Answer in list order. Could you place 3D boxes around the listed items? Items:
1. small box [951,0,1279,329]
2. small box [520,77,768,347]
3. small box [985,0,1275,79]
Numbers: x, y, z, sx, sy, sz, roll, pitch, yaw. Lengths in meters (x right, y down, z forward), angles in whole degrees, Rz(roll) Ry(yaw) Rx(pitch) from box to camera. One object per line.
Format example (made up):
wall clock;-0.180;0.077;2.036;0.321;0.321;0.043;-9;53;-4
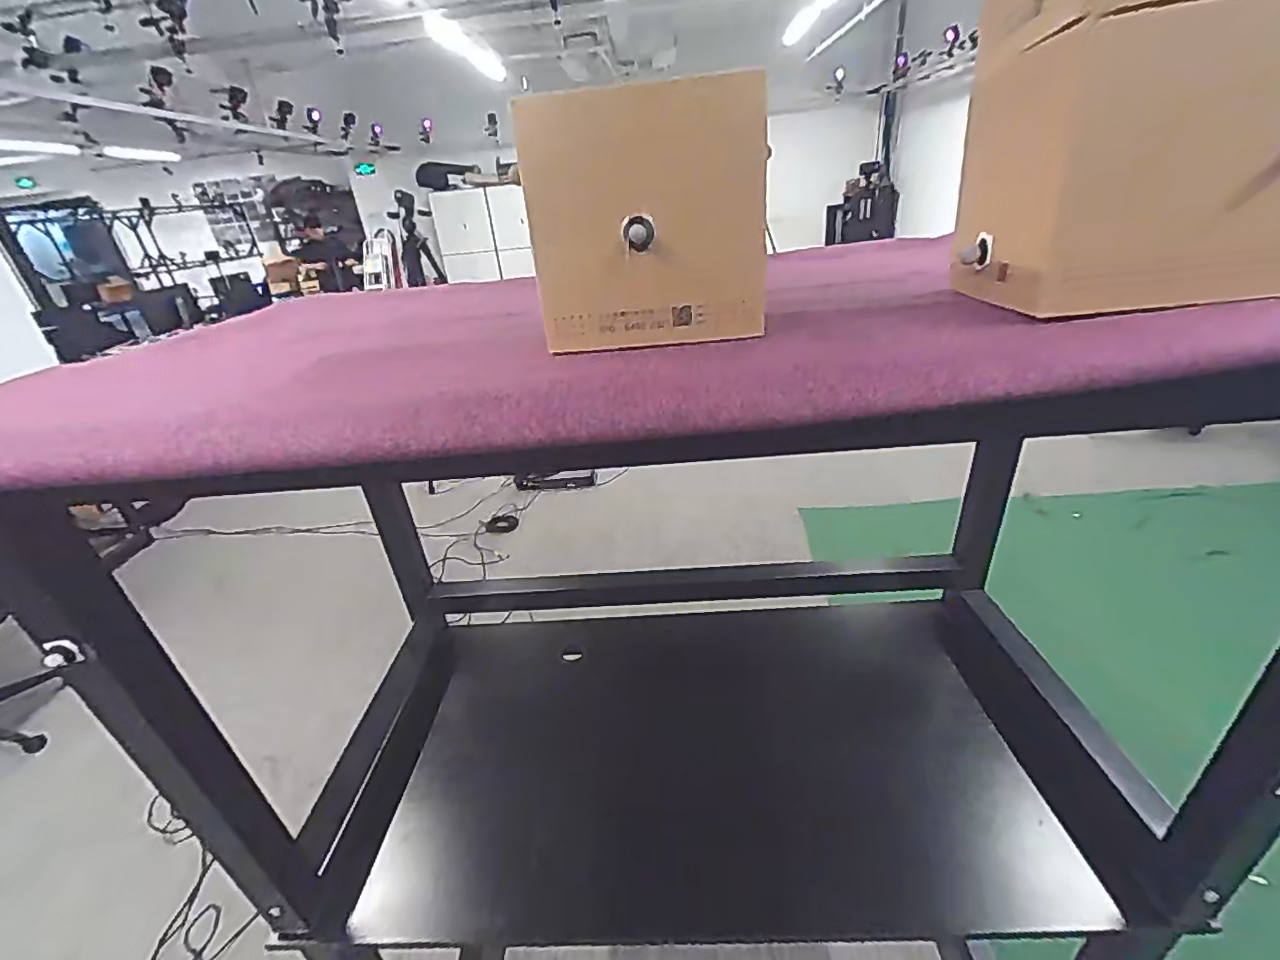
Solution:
small box;0.358;-0.216;0.396;0.179;0.176;0.168;-4;25;9
small box;0.012;-0.212;0.455;0.168;0.176;0.179;-3;27;4
small box;0.339;-0.365;0.333;0.179;0.176;0.168;-1;25;12
